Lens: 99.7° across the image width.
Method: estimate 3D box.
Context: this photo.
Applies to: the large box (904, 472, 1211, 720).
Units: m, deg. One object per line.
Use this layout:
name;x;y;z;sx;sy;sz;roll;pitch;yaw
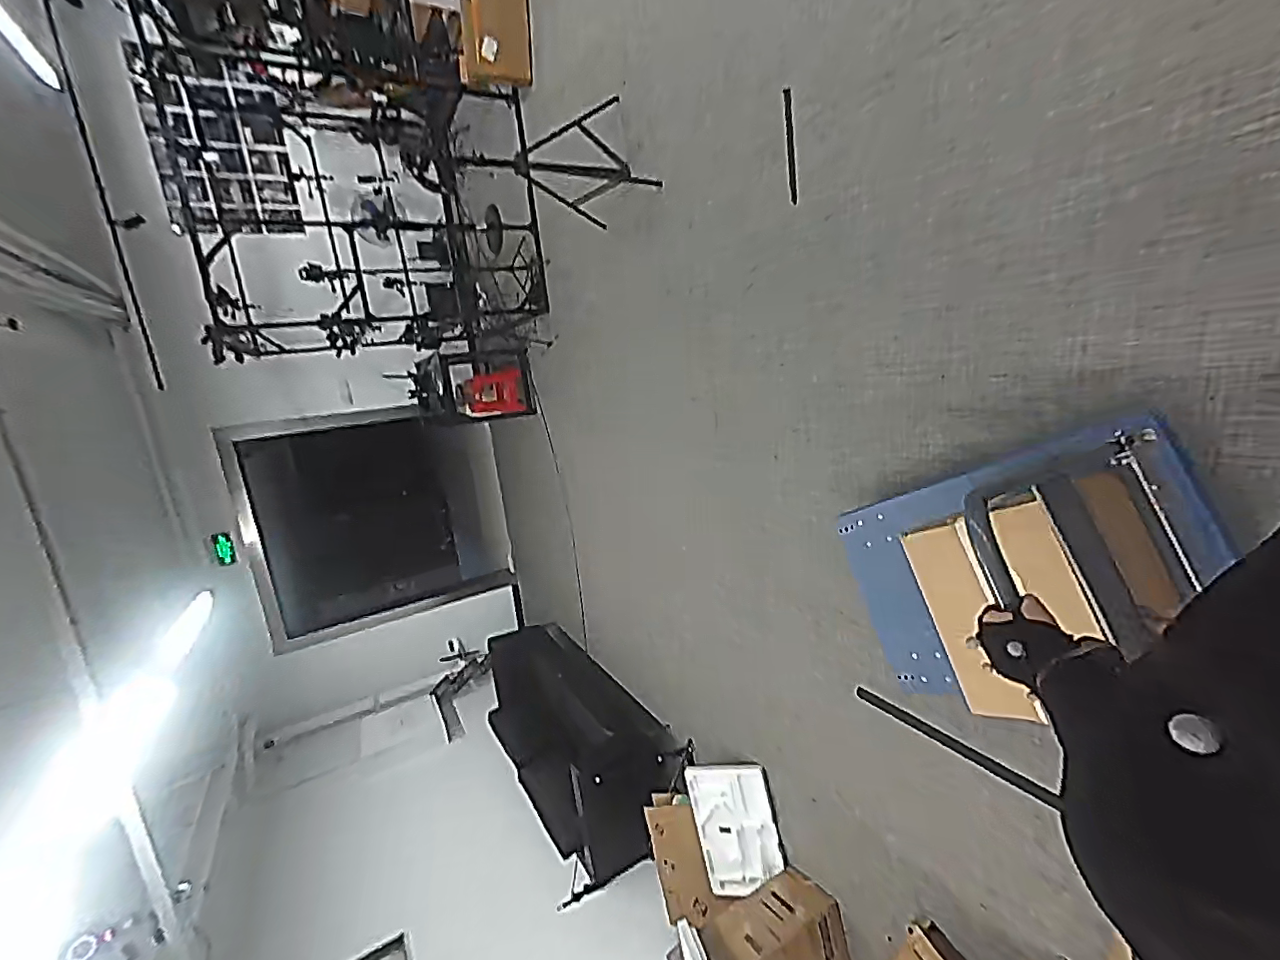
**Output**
large box;0.851;0.237;1.134;0.320;0.320;0.408;-37;68;60
